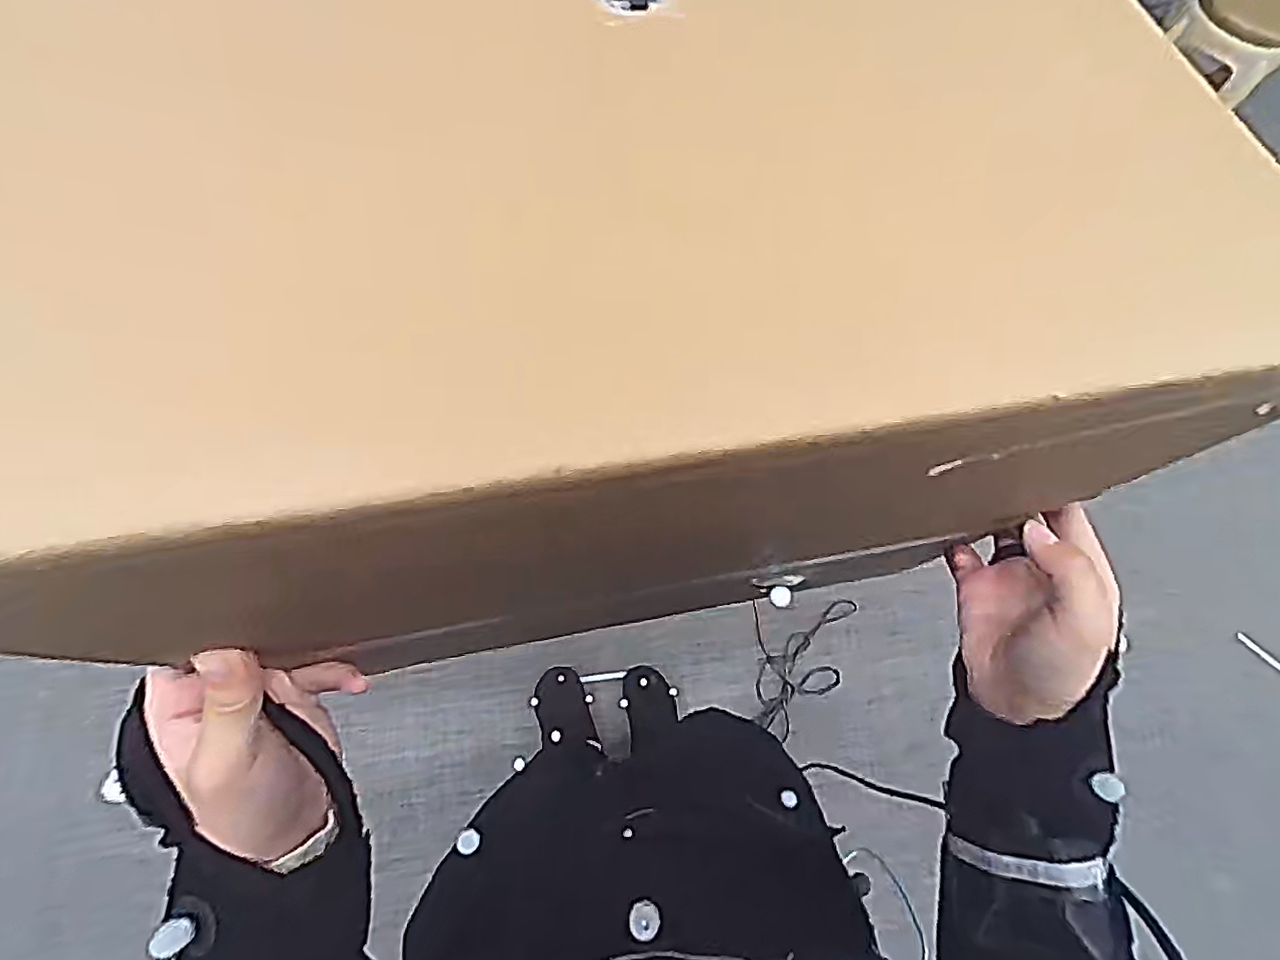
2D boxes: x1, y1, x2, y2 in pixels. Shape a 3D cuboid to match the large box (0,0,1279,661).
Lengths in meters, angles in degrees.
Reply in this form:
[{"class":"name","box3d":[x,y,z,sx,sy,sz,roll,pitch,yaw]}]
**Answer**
[{"class":"large box","box3d":[-0.018,-0.102,0.316,0.408,0.320,0.320,-10,71,-8]}]
